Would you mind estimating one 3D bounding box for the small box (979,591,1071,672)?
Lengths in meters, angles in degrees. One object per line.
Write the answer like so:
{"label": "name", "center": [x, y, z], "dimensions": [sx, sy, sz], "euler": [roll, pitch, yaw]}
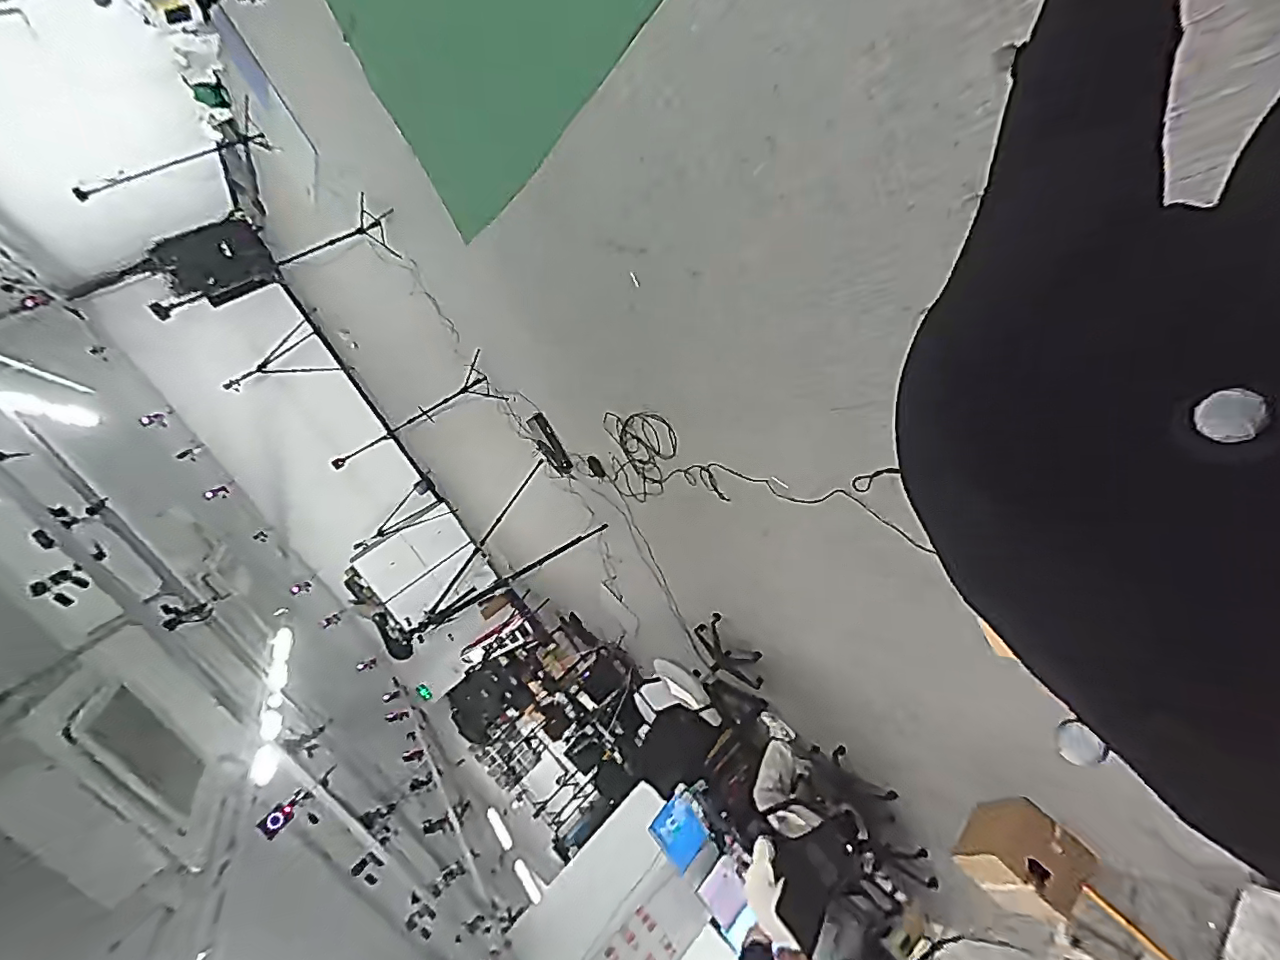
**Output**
{"label": "small box", "center": [1.262, 0.489, 1.768], "dimensions": [0.179, 0.176, 0.168], "euler": [57, 154, -10]}
